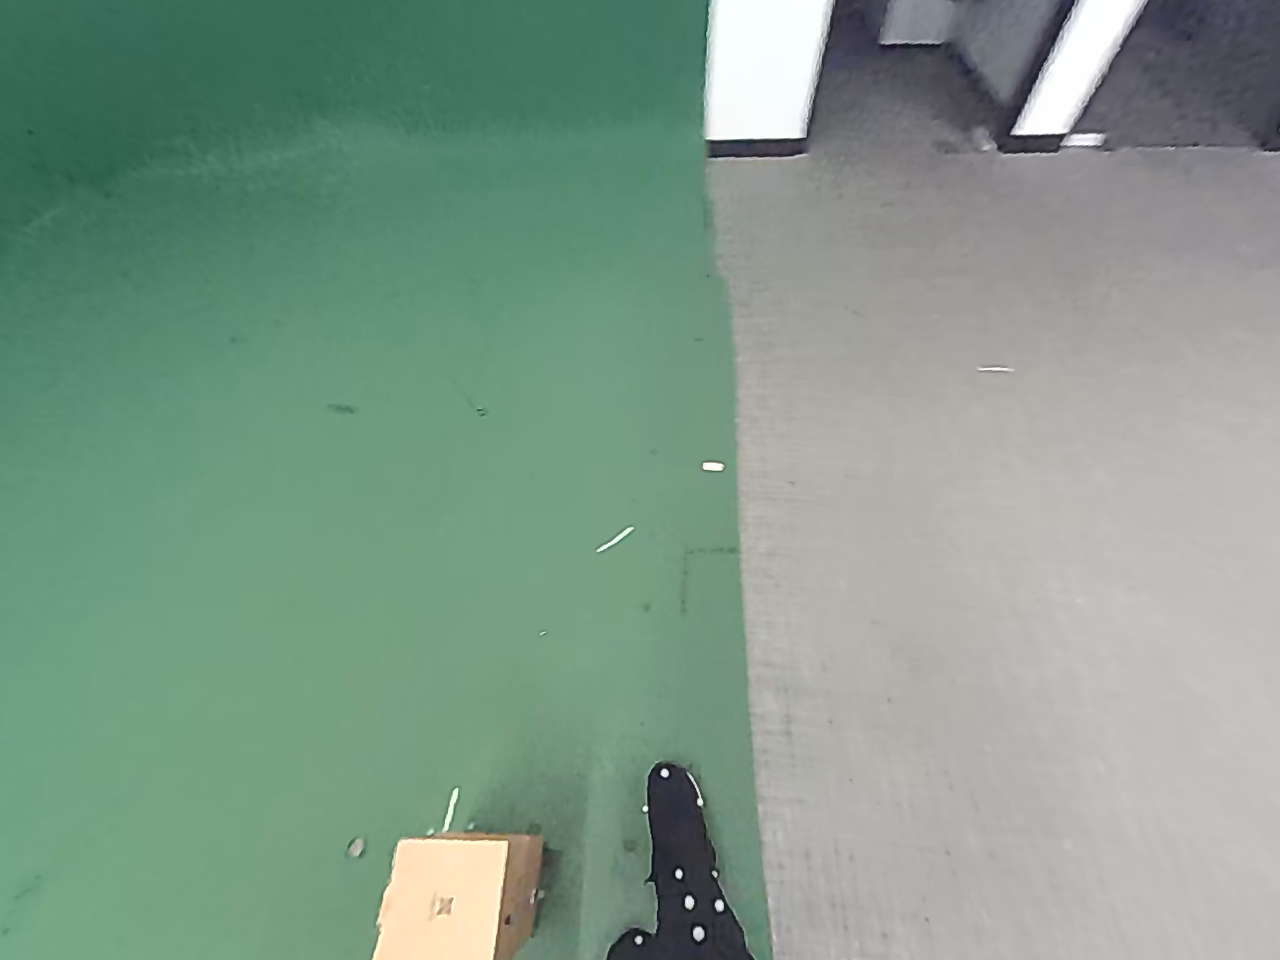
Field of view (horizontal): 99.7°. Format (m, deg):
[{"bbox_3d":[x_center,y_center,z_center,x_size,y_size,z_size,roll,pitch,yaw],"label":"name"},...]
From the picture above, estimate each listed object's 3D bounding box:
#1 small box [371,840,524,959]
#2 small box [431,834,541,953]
[{"bbox_3d":[-0.292,0.674,0.859,0.179,0.176,0.168,-1,57,2],"label":"small box"},{"bbox_3d":[-0.292,0.757,0.999,0.179,0.176,0.168,1,57,1],"label":"small box"}]
